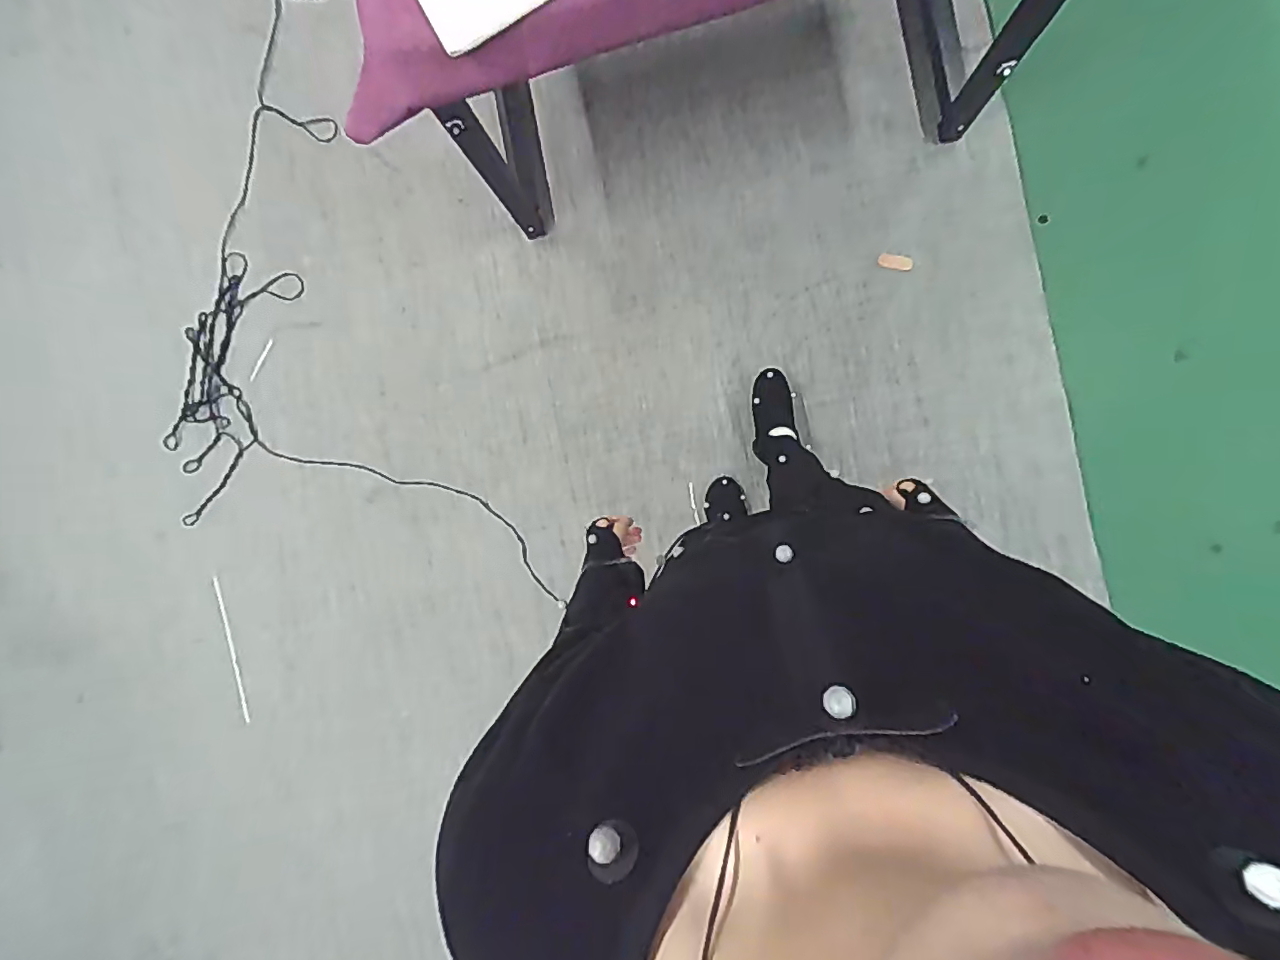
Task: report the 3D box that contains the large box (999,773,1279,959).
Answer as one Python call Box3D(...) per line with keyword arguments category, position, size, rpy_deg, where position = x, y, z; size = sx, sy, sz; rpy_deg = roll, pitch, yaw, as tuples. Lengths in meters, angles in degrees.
Box3D(category="large box", position=(1.165, 0.967, 1.252), size=(0.408, 0.320, 0.320), rpy_deg=(-25, 89, 6))
